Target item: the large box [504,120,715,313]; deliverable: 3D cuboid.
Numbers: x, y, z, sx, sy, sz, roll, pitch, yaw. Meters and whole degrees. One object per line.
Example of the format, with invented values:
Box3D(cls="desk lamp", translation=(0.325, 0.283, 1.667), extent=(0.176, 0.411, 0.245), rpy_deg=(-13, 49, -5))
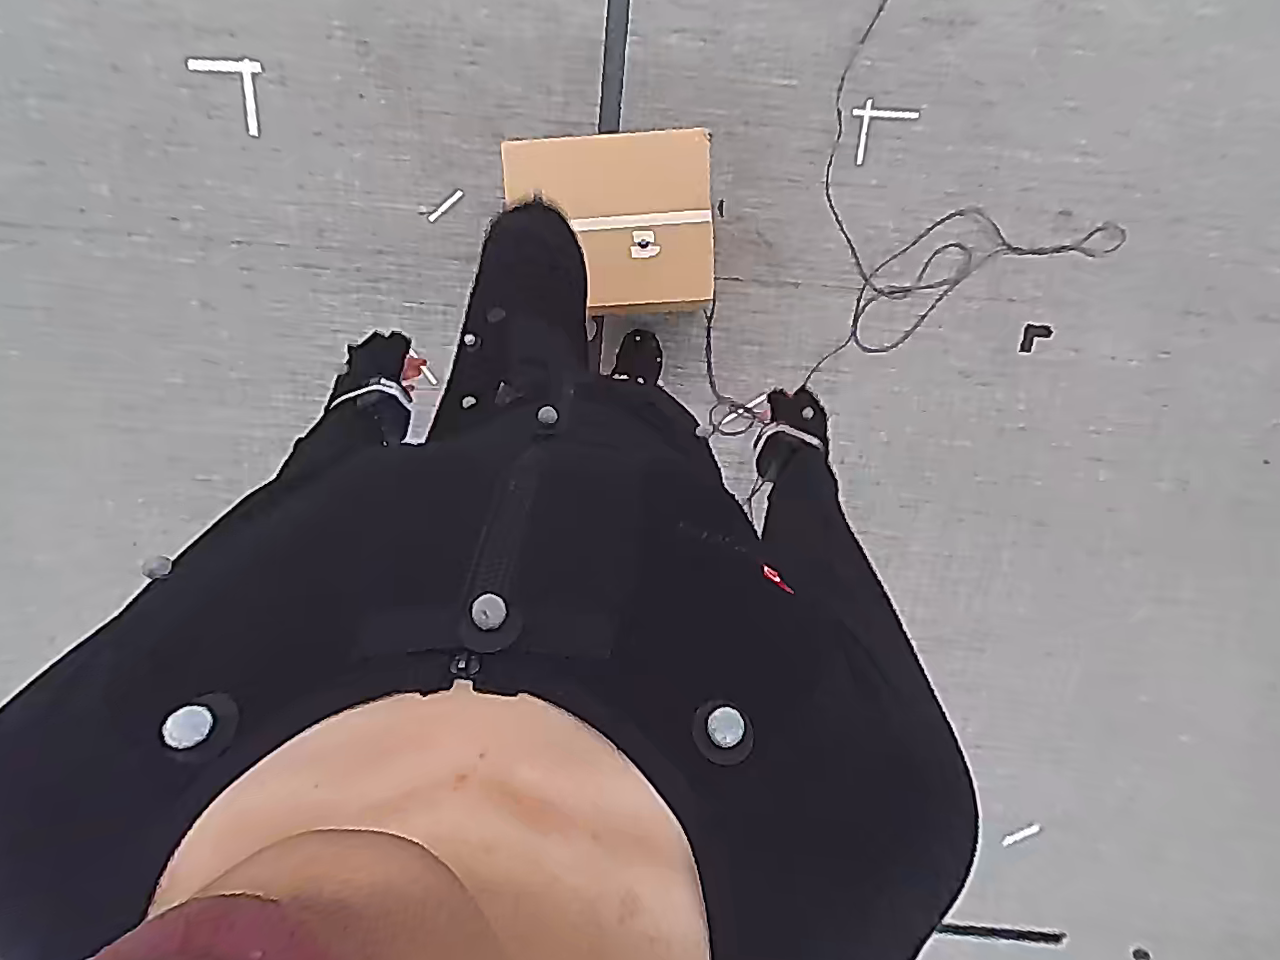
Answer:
Box3D(cls="large box", translation=(-0.055, -0.557, 1.210), extent=(0.408, 0.320, 0.320), rpy_deg=(-3, 104, 1))
